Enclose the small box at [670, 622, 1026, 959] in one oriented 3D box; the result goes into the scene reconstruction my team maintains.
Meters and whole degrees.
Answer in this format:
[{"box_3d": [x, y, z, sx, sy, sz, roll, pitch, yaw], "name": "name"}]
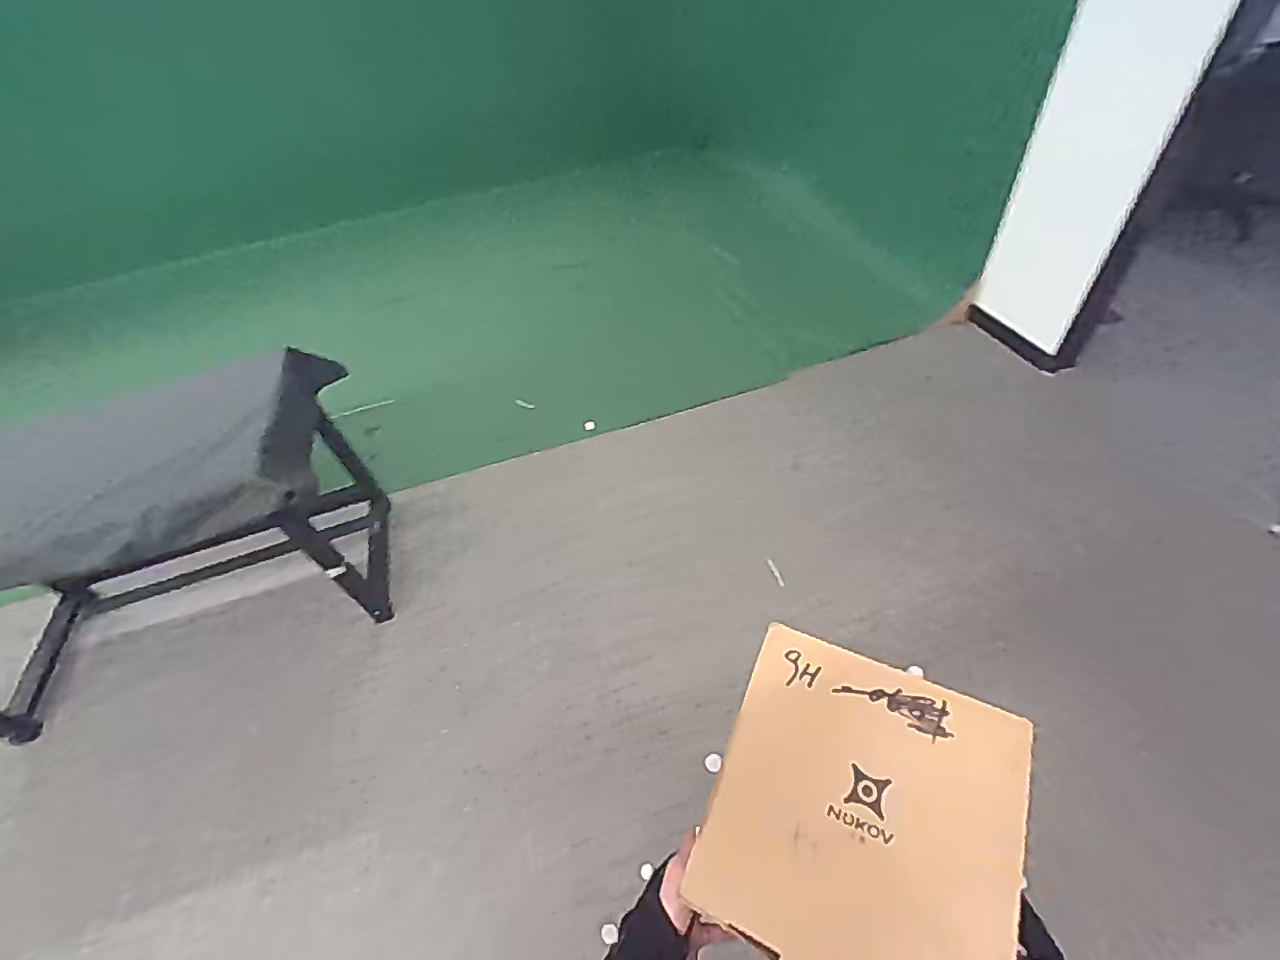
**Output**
[{"box_3d": [0.136, 0.235, 0.382, 0.168, 0.176, 0.179, 18, 60, 19], "name": "small box"}]
